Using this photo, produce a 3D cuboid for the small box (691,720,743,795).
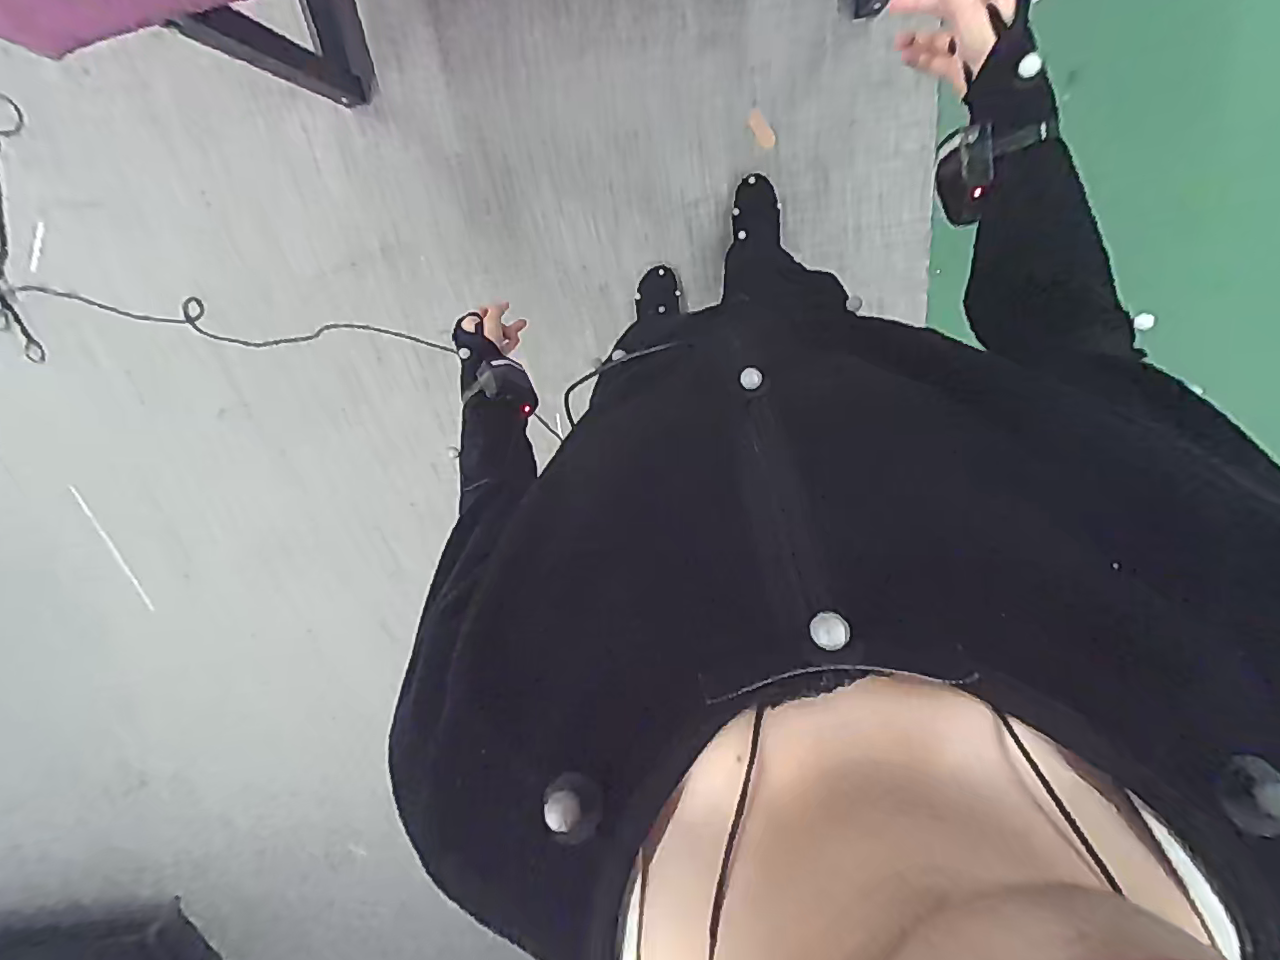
[{"bbox_3d":[0.264,0.958,1.878,0.168,0.176,0.179,-3,113,4],"label":"small box"}]
